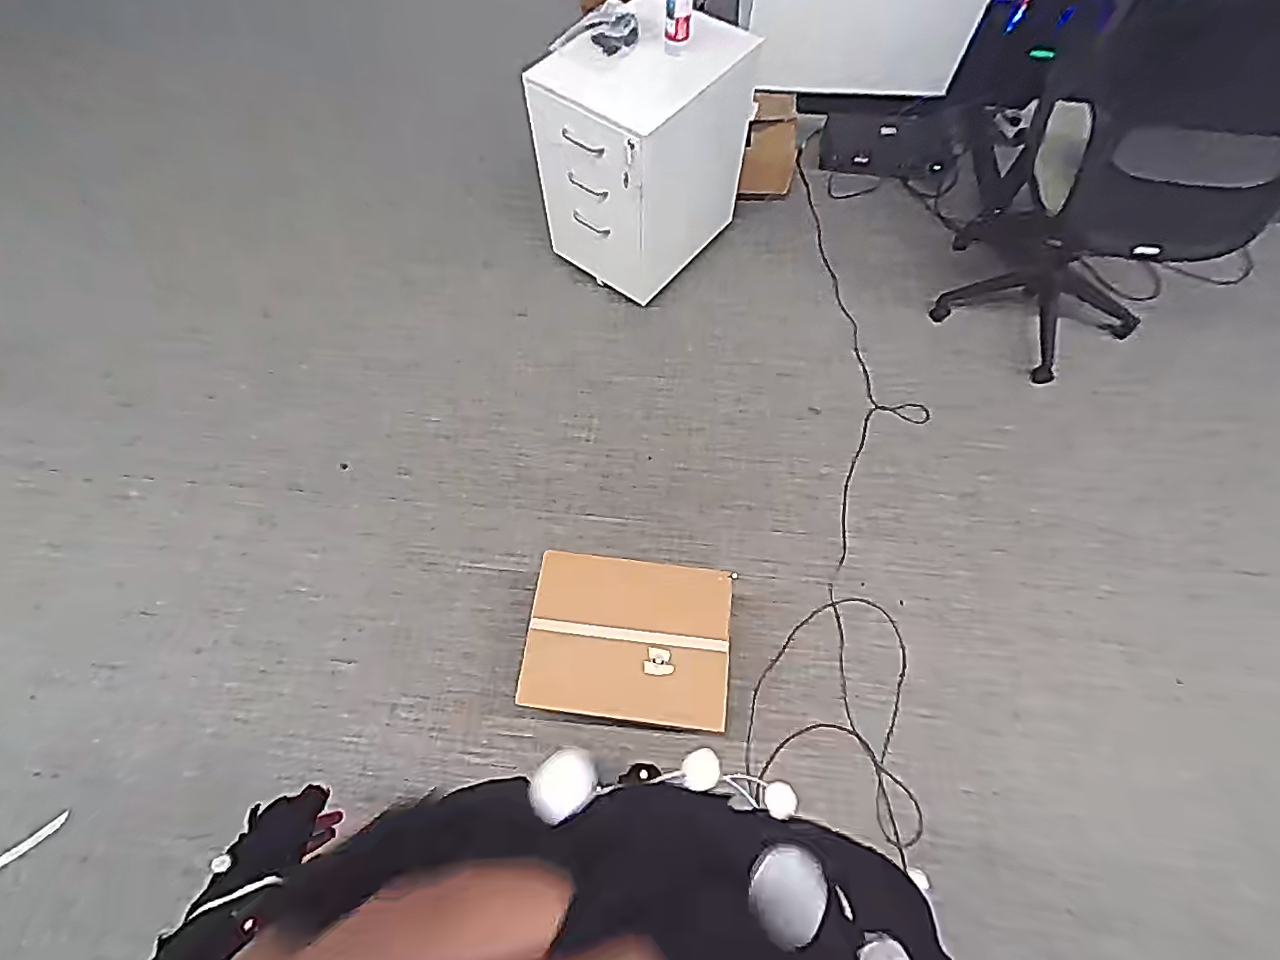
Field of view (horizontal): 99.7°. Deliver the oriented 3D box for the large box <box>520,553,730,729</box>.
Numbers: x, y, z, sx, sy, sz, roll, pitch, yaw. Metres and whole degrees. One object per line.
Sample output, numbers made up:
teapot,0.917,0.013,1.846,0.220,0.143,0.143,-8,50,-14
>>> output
large box,-0.024,0.377,1.232,0.408,0.320,0.320,7,66,2
